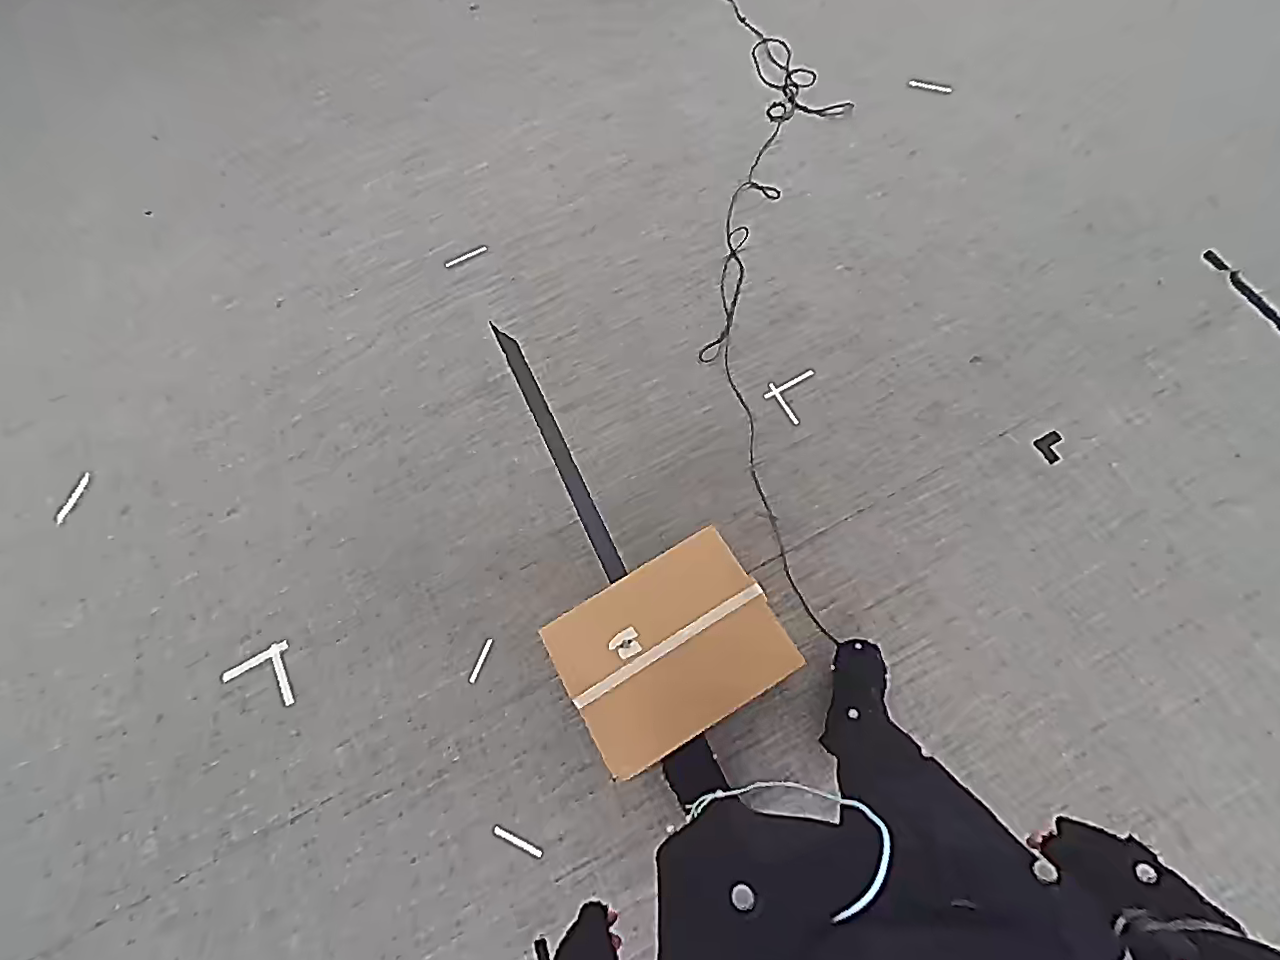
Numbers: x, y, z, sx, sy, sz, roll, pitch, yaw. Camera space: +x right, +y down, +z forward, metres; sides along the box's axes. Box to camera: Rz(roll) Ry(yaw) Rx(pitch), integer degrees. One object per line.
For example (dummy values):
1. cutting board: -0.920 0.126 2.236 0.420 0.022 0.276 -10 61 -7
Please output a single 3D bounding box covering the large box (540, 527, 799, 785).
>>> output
1. large box: 0.065 0.360 1.155 0.408 0.320 0.320 -31 70 -4
